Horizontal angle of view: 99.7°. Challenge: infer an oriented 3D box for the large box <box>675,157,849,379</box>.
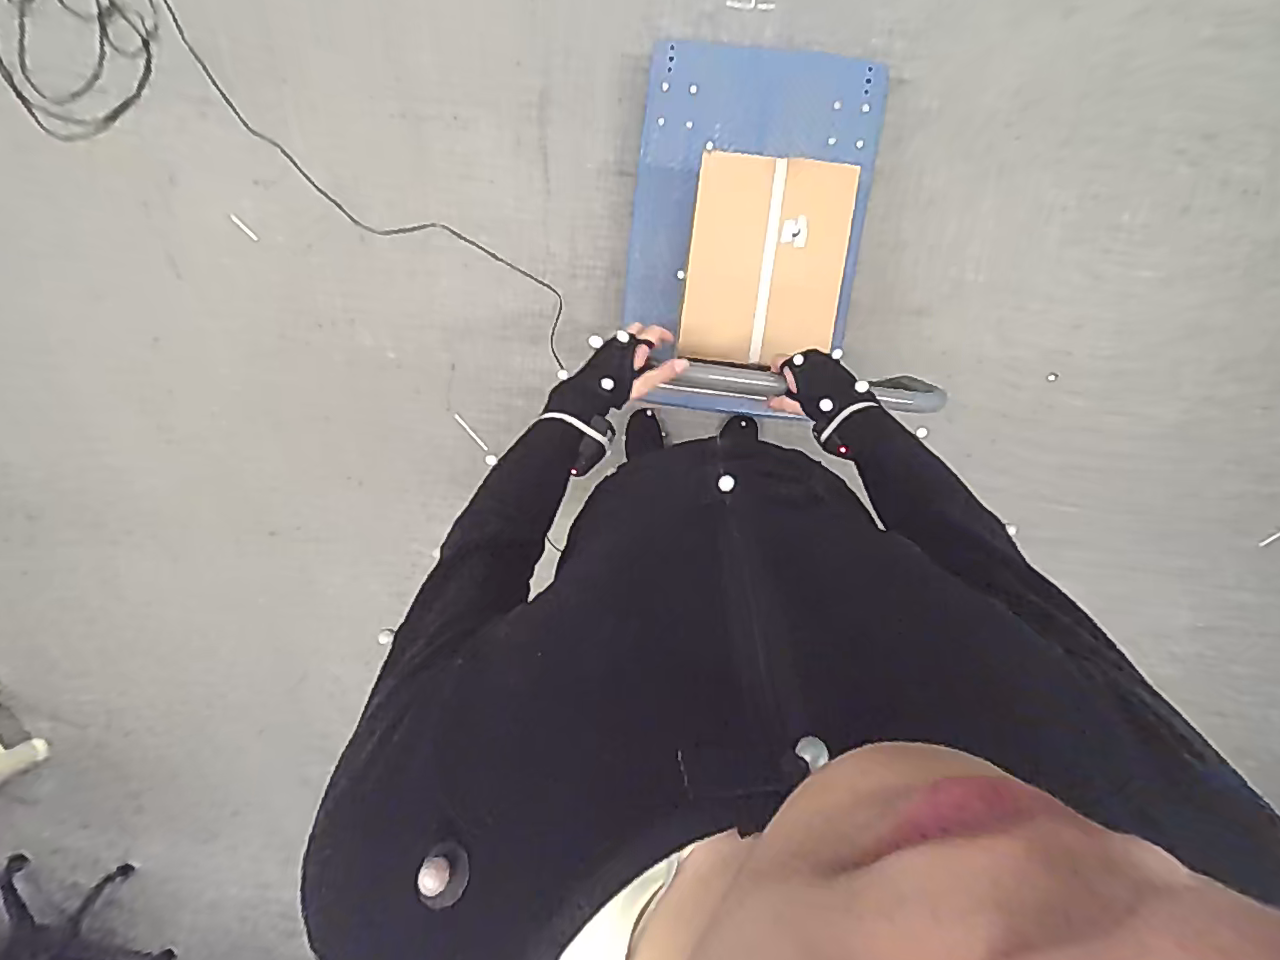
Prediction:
[{"bbox_3d":[0.253,-0.455,1.252,0.320,0.320,0.408,7,97,1],"label":"large box"}]
